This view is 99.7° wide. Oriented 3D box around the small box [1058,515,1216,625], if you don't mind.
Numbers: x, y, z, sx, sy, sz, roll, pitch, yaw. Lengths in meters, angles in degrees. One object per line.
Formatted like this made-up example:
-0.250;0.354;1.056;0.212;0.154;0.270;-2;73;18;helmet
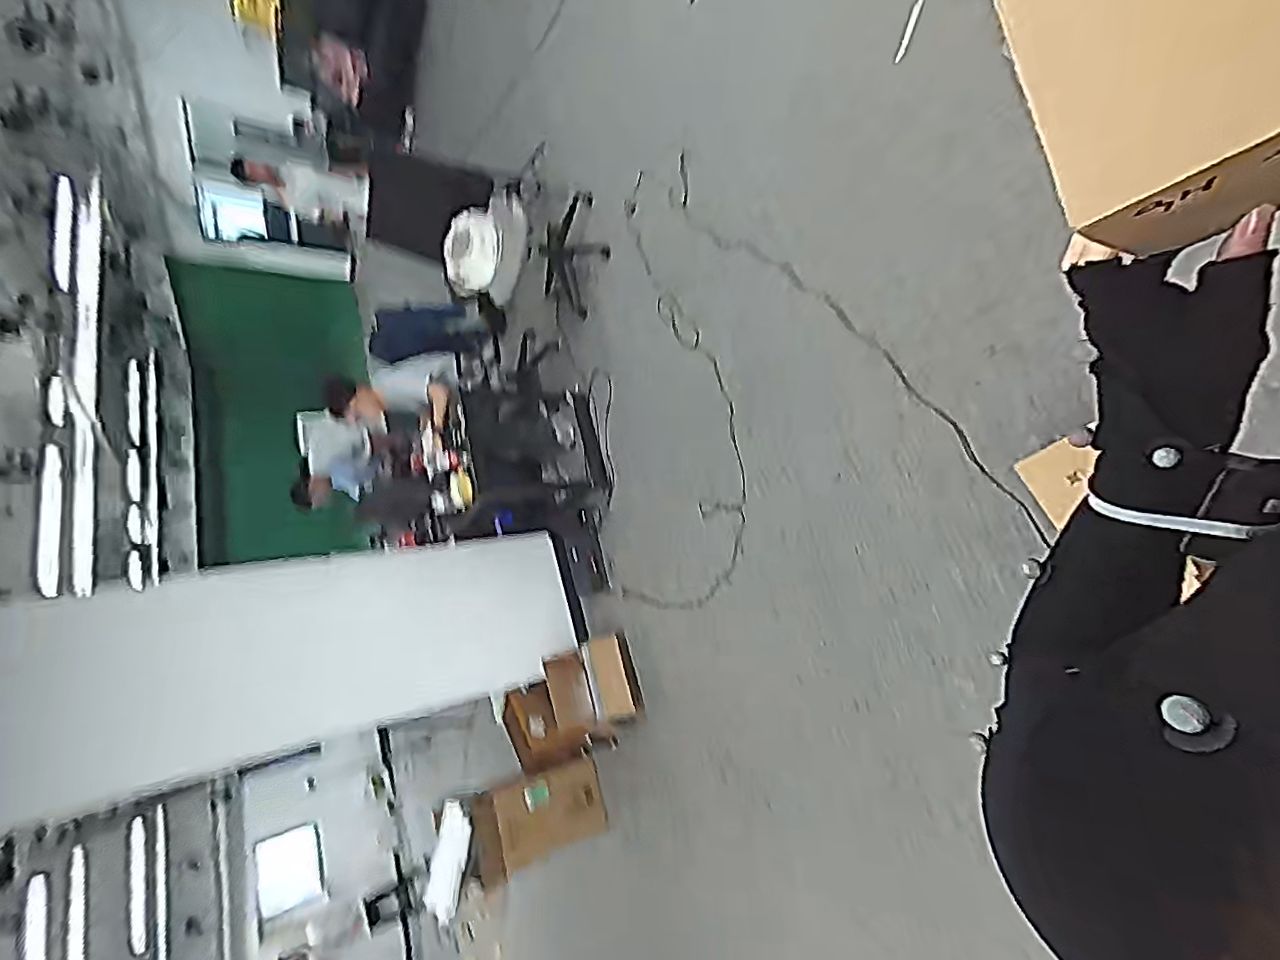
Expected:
1.024;0.181;1.112;0.179;0.176;0.168;-43;60;48;small box

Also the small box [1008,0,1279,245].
0.266;-0.217;0.210;0.168;0.179;0.176;-18;86;52;small box

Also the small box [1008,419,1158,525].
0.962;-0.017;1.176;0.179;0.176;0.168;-47;57;45;small box
